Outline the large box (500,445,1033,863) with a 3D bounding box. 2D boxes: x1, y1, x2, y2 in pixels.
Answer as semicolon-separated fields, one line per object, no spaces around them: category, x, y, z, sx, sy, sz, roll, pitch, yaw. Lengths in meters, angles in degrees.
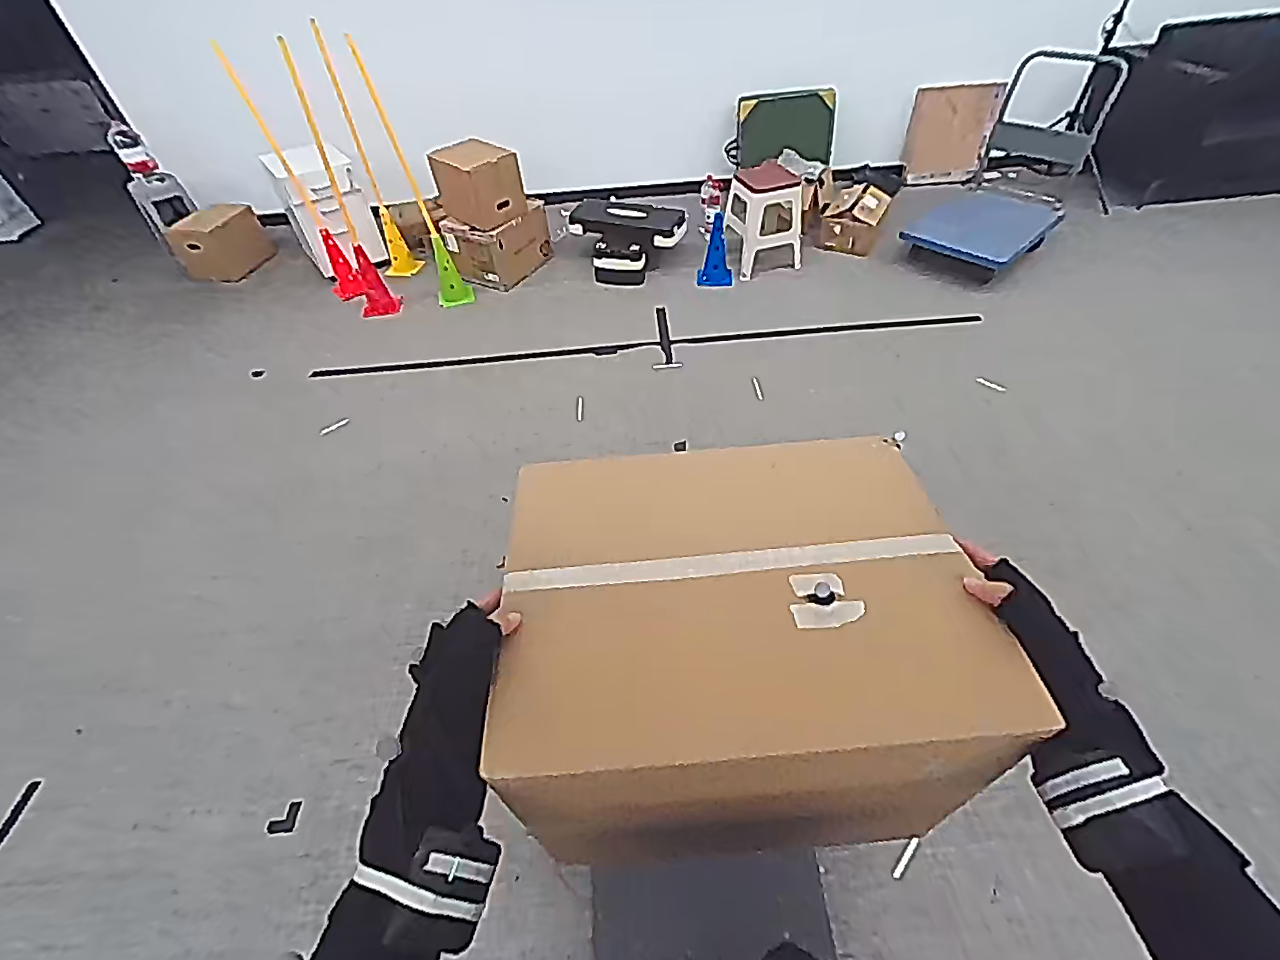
large box;0.090;0.191;0.601;0.408;0.320;0.320;-5;45;0
